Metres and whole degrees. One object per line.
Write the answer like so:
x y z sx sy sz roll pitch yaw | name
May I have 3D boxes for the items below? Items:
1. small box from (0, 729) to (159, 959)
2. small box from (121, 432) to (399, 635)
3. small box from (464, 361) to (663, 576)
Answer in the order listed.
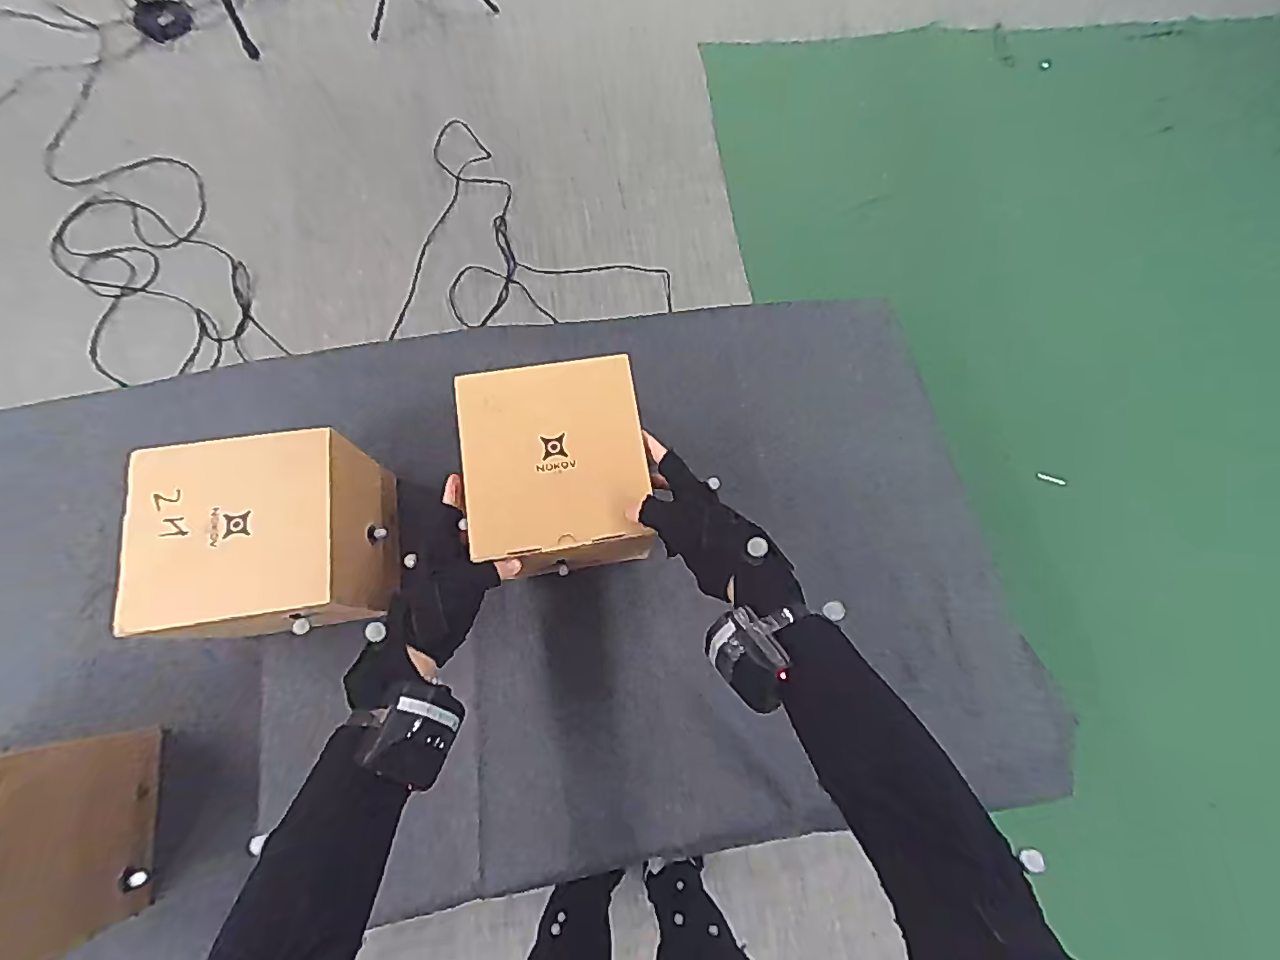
-0.567 0.323 0.461 0.179 0.176 0.168 -9 73 -6 | small box
-0.361 0.063 0.554 0.179 0.176 0.168 -7 74 -5 | small box
-0.078 -0.002 0.568 0.168 0.176 0.179 -8 77 -6 | small box
